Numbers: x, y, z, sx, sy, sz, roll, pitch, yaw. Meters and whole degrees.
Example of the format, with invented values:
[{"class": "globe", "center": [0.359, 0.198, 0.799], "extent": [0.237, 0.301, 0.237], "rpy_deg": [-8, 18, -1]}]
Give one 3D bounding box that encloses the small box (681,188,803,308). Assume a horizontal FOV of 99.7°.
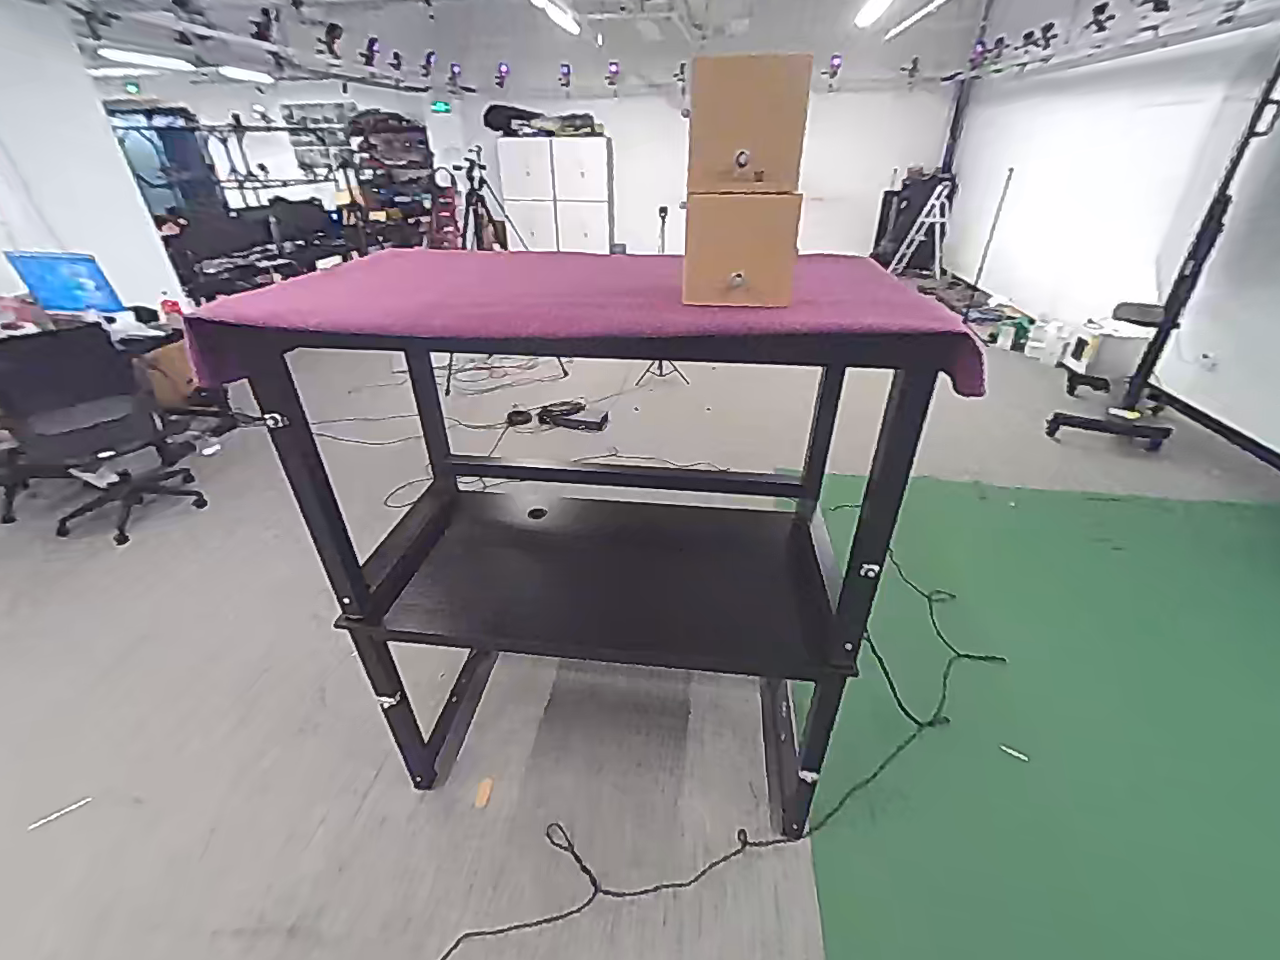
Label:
[{"class": "small box", "center": [0.165, -0.392, 0.913], "extent": [0.179, 0.176, 0.168], "rpy_deg": [3, 30, 6]}]
